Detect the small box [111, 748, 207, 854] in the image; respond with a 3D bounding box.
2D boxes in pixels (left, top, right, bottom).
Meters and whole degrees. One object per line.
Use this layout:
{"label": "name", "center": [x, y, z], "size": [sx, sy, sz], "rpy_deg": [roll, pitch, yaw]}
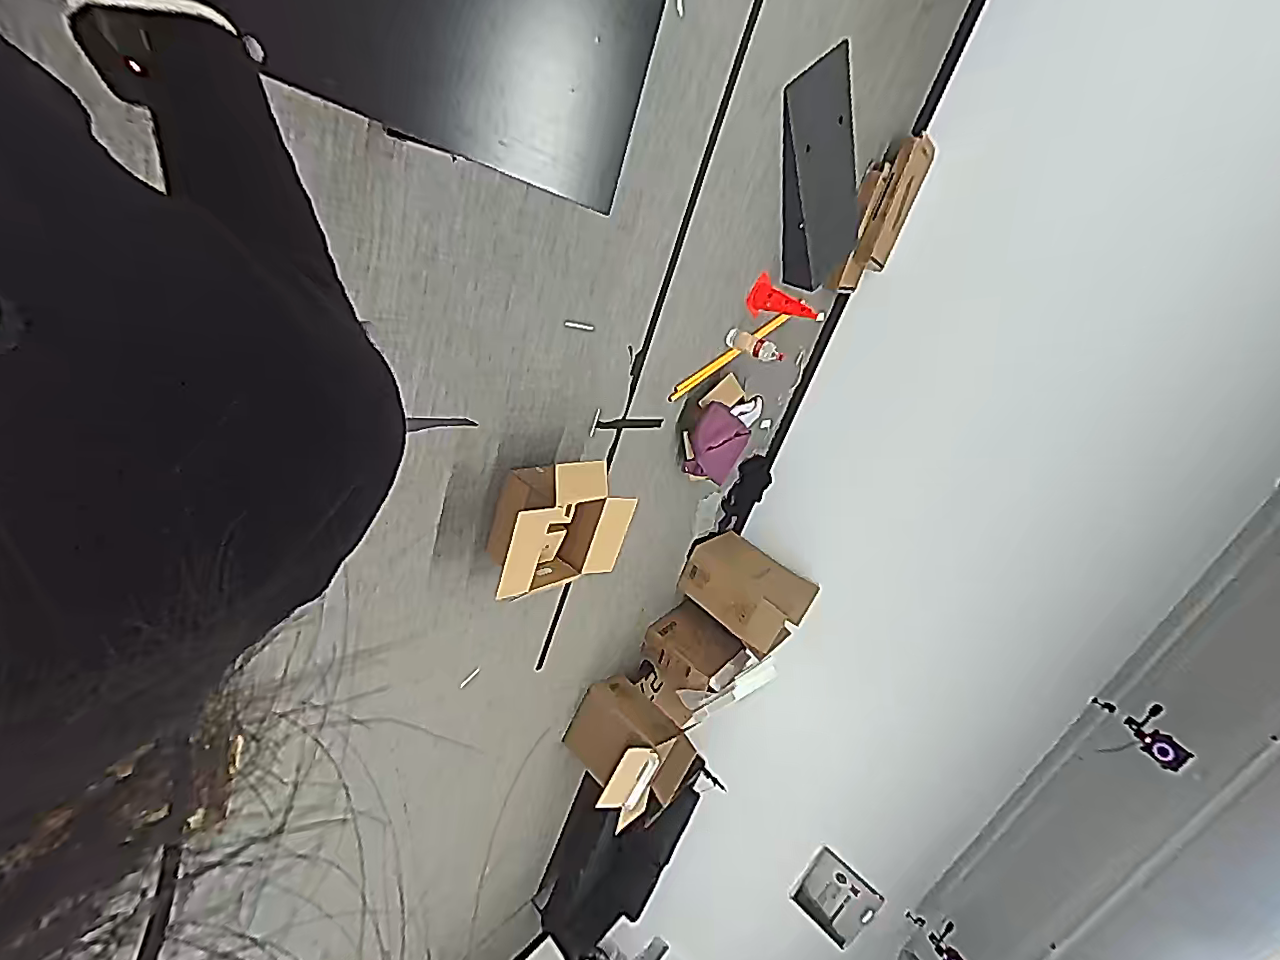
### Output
{"label": "small box", "center": [-1.419, 0.934, 1.594], "size": [0.179, 0.176, 0.168], "rpy_deg": [-2, 118, -53]}
